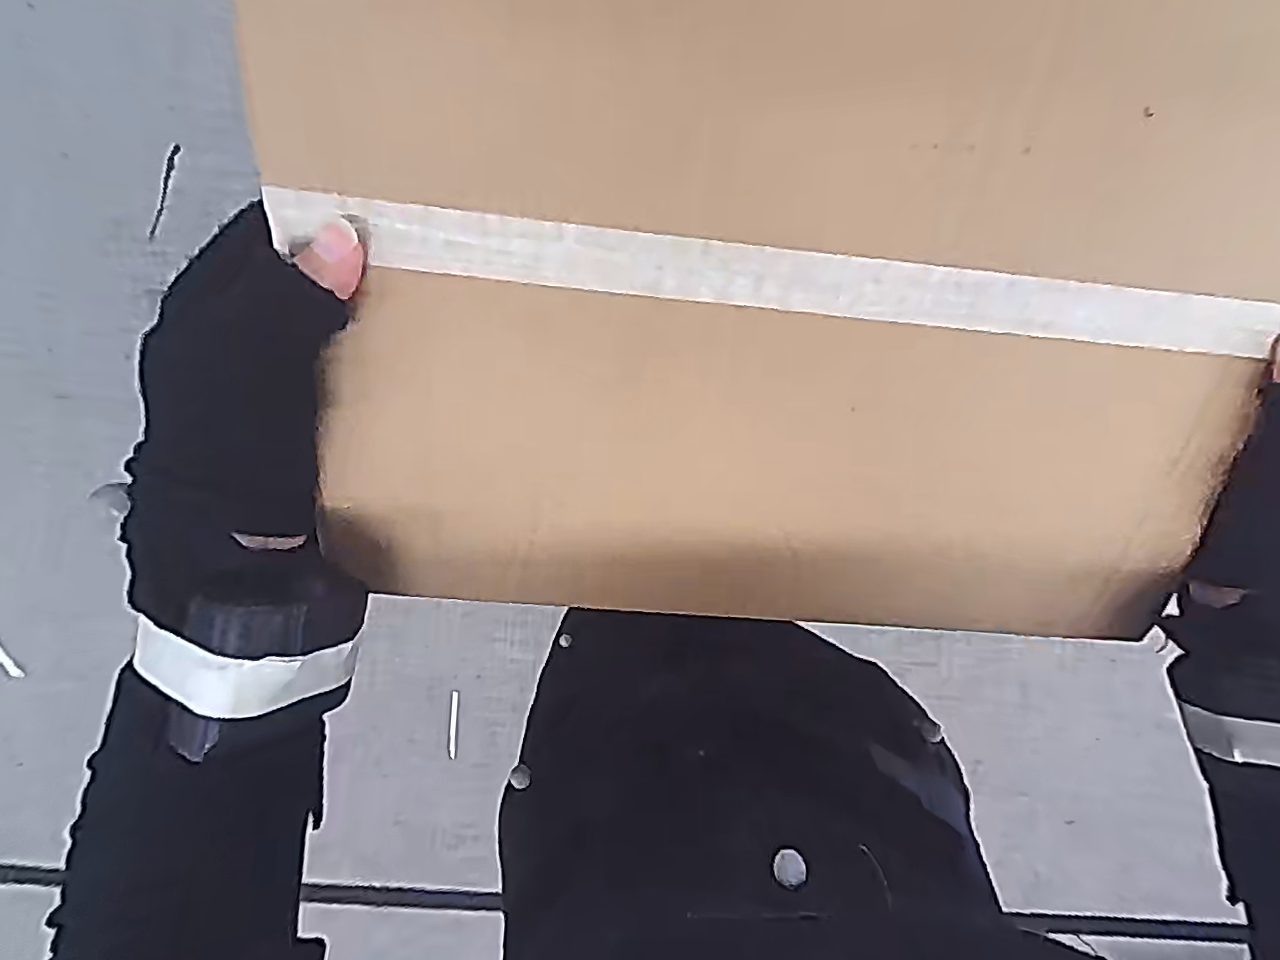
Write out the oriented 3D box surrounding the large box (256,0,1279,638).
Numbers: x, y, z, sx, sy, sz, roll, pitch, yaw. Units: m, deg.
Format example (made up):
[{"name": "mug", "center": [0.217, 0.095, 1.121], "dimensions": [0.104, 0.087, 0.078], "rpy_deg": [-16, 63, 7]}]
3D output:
[{"name": "large box", "center": [0.066, -0.125, 0.348], "dimensions": [0.408, 0.320, 0.320], "rpy_deg": [4, 114, -5]}]
